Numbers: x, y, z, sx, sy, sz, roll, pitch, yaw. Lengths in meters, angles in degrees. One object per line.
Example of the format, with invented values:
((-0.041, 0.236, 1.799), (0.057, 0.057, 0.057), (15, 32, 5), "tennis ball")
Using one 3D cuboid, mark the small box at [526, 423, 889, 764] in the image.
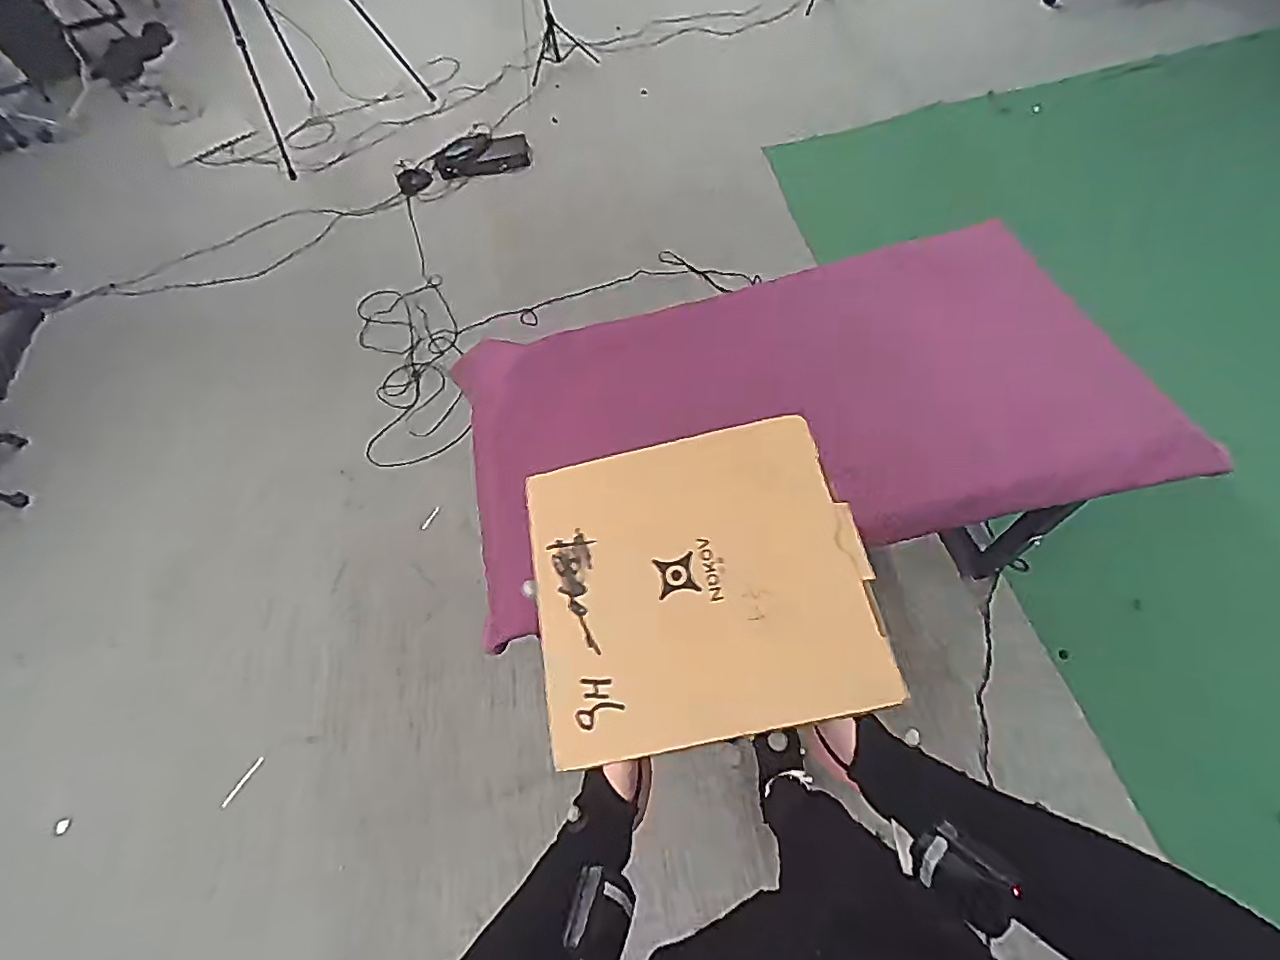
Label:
((0.036, 0.087, 0.373), (0.179, 0.176, 0.168), (-13, 64, 3), "small box")
